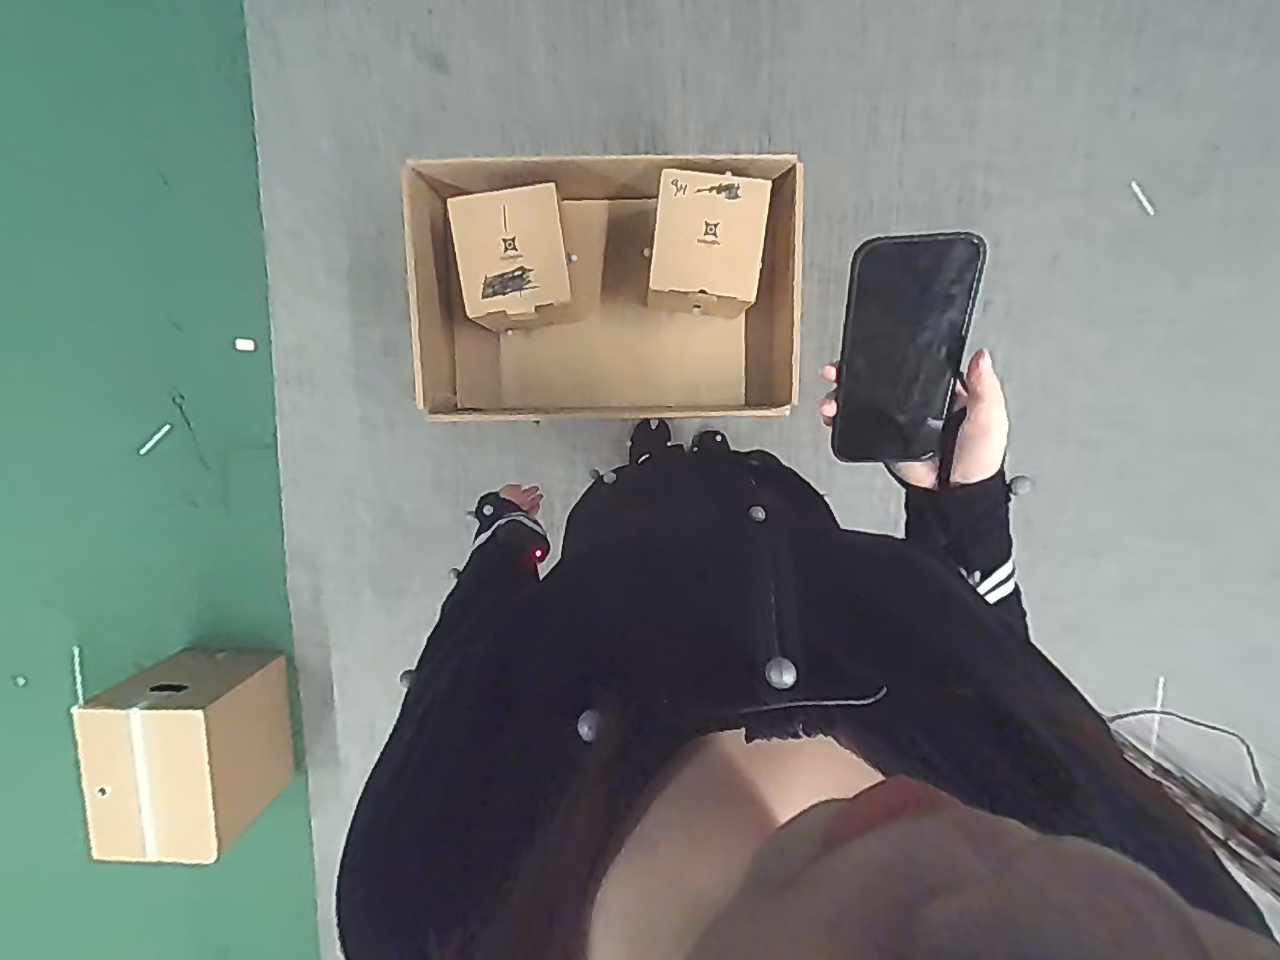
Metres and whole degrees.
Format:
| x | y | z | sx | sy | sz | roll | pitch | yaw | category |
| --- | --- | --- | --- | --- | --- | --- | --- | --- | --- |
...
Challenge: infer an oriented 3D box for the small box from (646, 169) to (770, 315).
| x | y | z | sx | sy | sz | roll | pitch | yaw | category |
| --- | --- | --- | --- | --- | --- | --- | --- | --- | --- |
| 0.102 | -0.374 | 0.883 | 0.168 | 0.176 | 0.179 | 7 | 99 | 0 | small box |
